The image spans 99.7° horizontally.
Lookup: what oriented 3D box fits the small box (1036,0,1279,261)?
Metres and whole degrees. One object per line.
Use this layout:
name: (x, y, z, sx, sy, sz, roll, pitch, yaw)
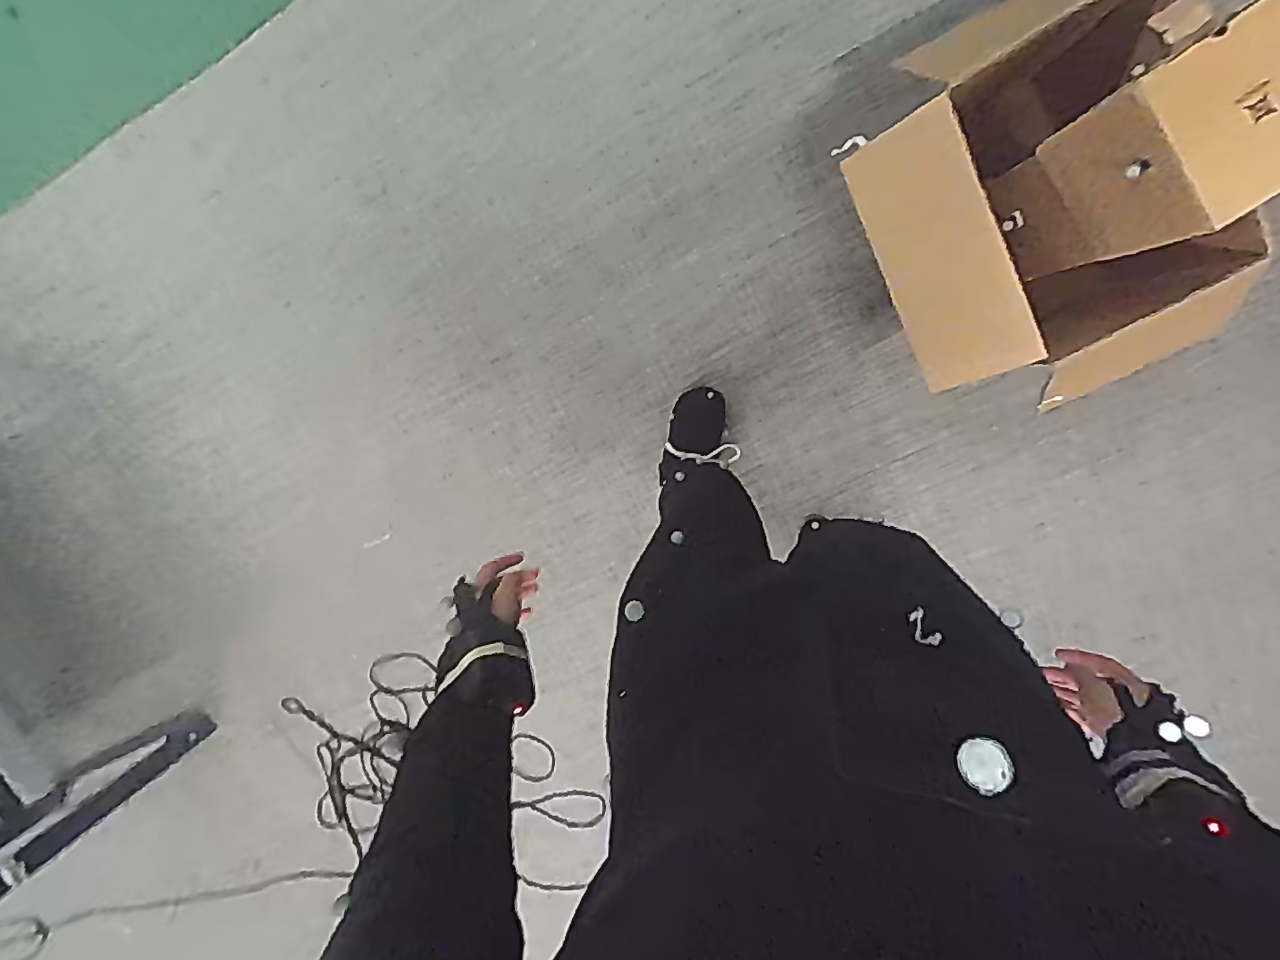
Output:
small box: (0.619, -0.378, 0.626, 0.168, 0.176, 0.179, -33, 95, 11)
